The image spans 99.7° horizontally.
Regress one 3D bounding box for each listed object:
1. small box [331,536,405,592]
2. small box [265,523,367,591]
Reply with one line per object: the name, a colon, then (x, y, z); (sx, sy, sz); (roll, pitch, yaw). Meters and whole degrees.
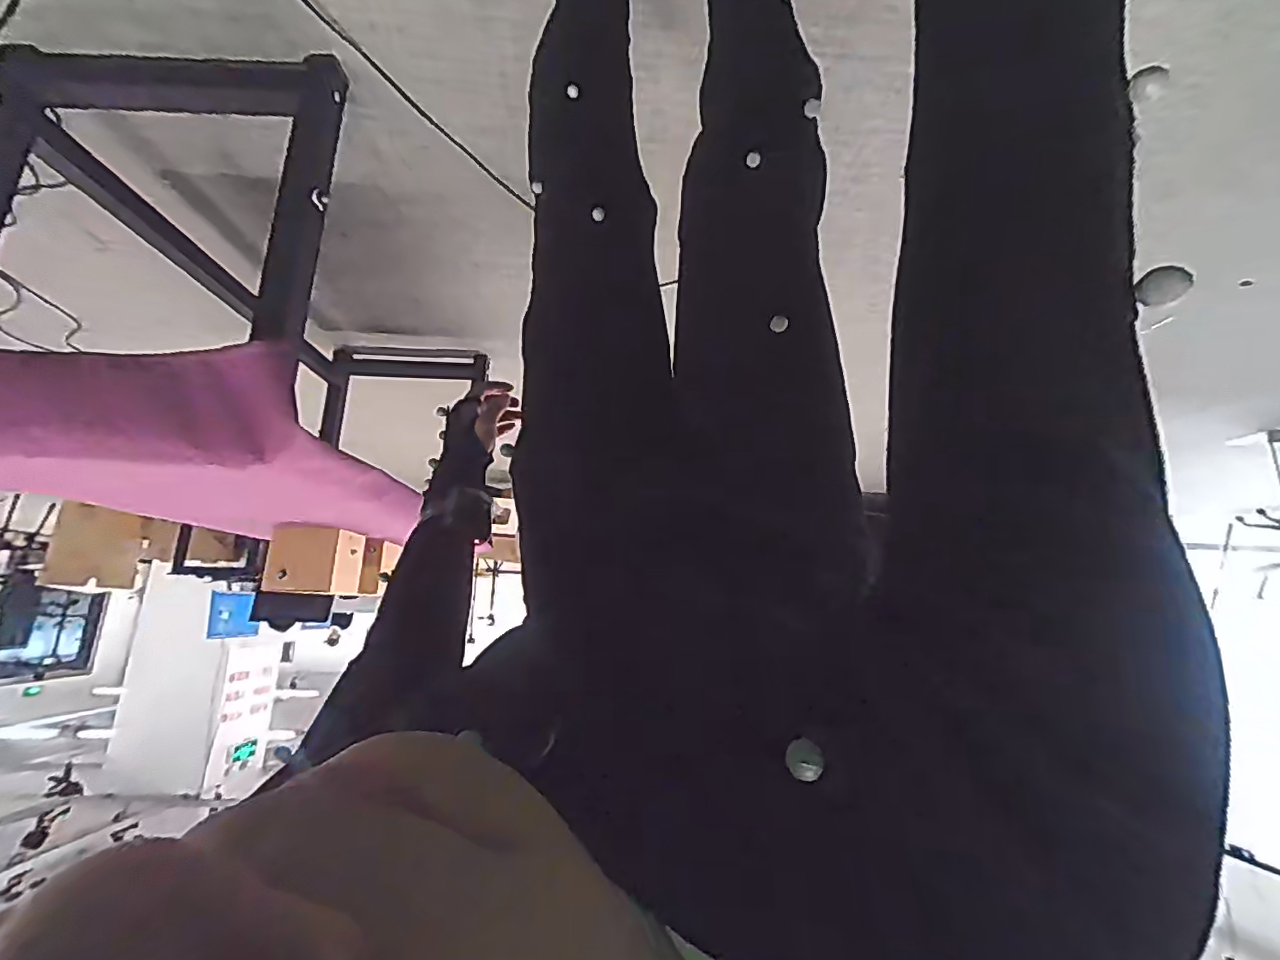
small box: (-0.868, 0.269, 1.725); (0.168, 0.176, 0.179); (2, 167, -3)
small box: (-0.874, 0.210, 1.476); (0.179, 0.176, 0.168); (2, 167, -4)
